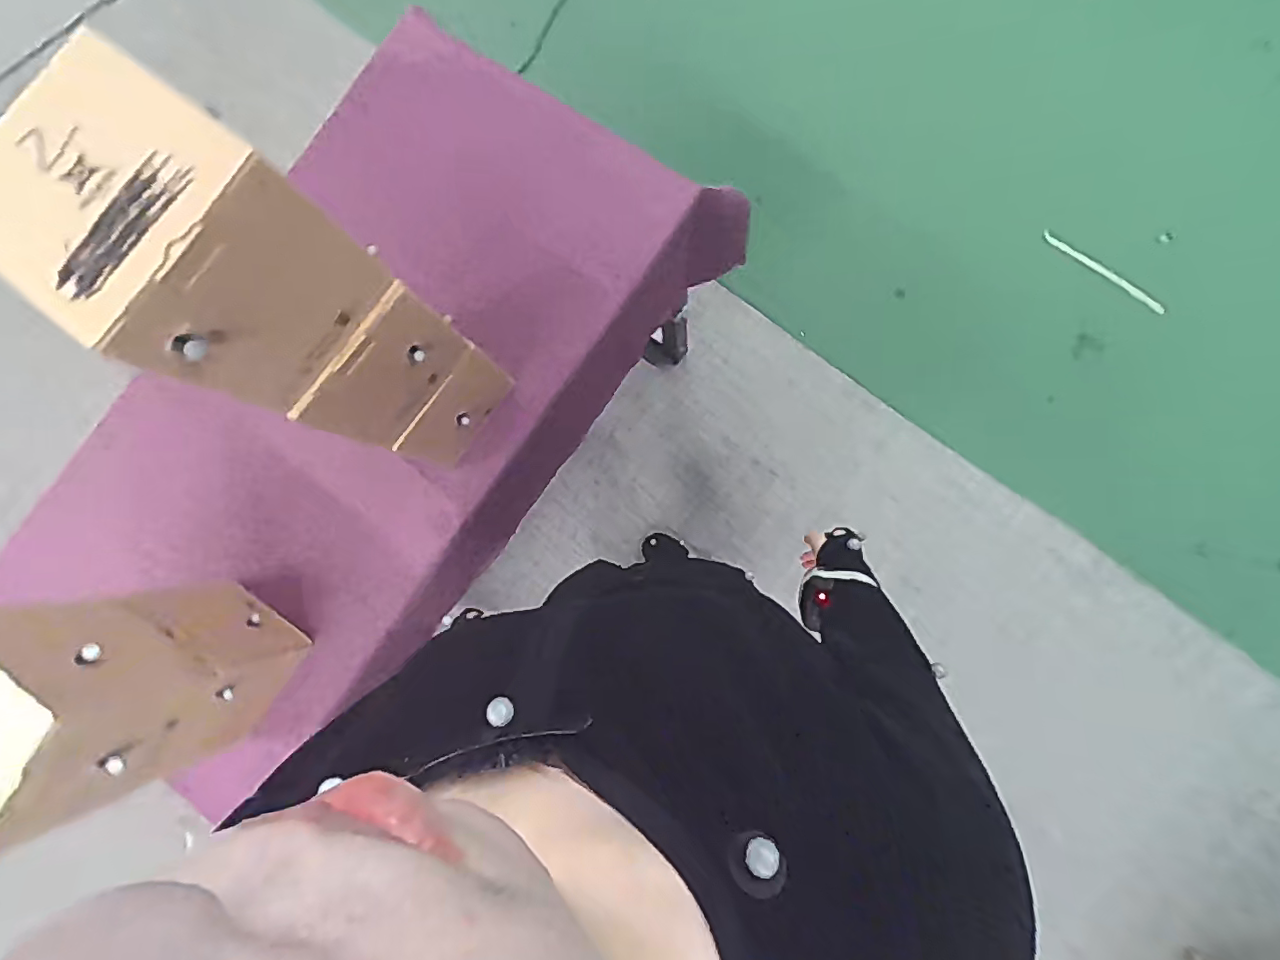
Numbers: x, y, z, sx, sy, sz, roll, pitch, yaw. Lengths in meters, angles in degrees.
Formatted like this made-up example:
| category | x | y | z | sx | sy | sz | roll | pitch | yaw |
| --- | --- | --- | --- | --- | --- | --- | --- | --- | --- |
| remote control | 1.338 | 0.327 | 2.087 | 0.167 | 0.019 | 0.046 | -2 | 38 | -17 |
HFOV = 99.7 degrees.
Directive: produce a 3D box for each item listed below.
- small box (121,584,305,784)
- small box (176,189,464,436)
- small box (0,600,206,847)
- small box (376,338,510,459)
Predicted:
| category | x | y | z | sx | sy | sz | roll | pitch | yaw |
| --- | --- | --- | --- | --- | --- | --- | --- | --- | --- |
| small box | -0.612 | 0.261 | 0.741 | 0.168 | 0.176 | 0.179 | 33 | 86 | 8 |
| small box | -0.331 | -0.165 | 0.598 | 0.179 | 0.176 | 0.168 | 38 | 88 | 9 |
| small box | -0.632 | 0.243 | 0.578 | 0.179 | 0.176 | 0.168 | 33 | 86 | 8 |
| small box | -0.314 | -0.144 | 0.759 | 0.179 | 0.176 | 0.168 | 36 | 88 | 8 |
